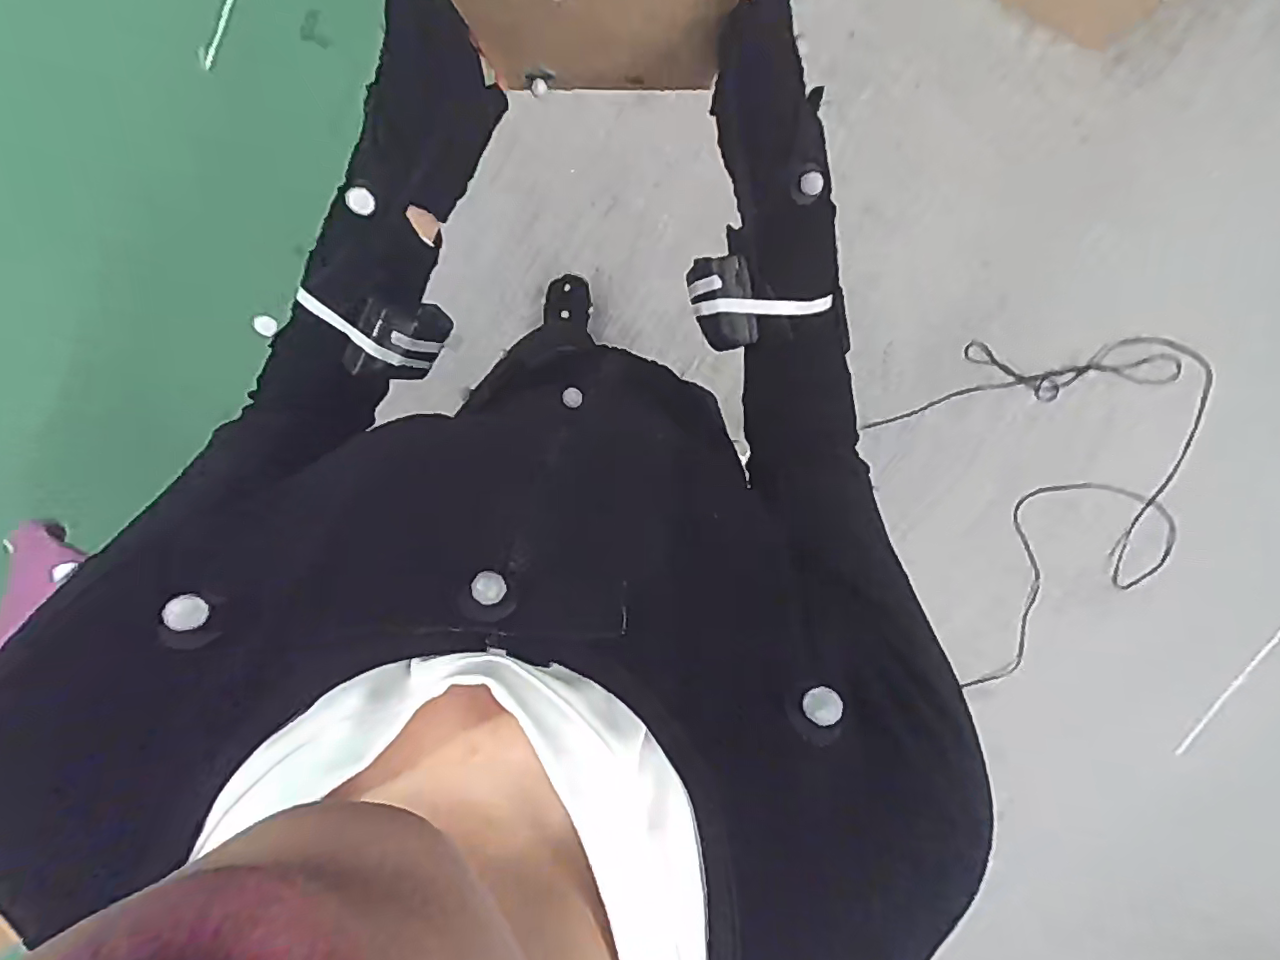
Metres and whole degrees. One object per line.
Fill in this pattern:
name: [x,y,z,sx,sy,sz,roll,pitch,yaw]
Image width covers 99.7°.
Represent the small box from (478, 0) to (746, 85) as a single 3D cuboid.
small box: [-0.014,-0.367,0.322,0.168,0.176,0.179,1,106,-1]
